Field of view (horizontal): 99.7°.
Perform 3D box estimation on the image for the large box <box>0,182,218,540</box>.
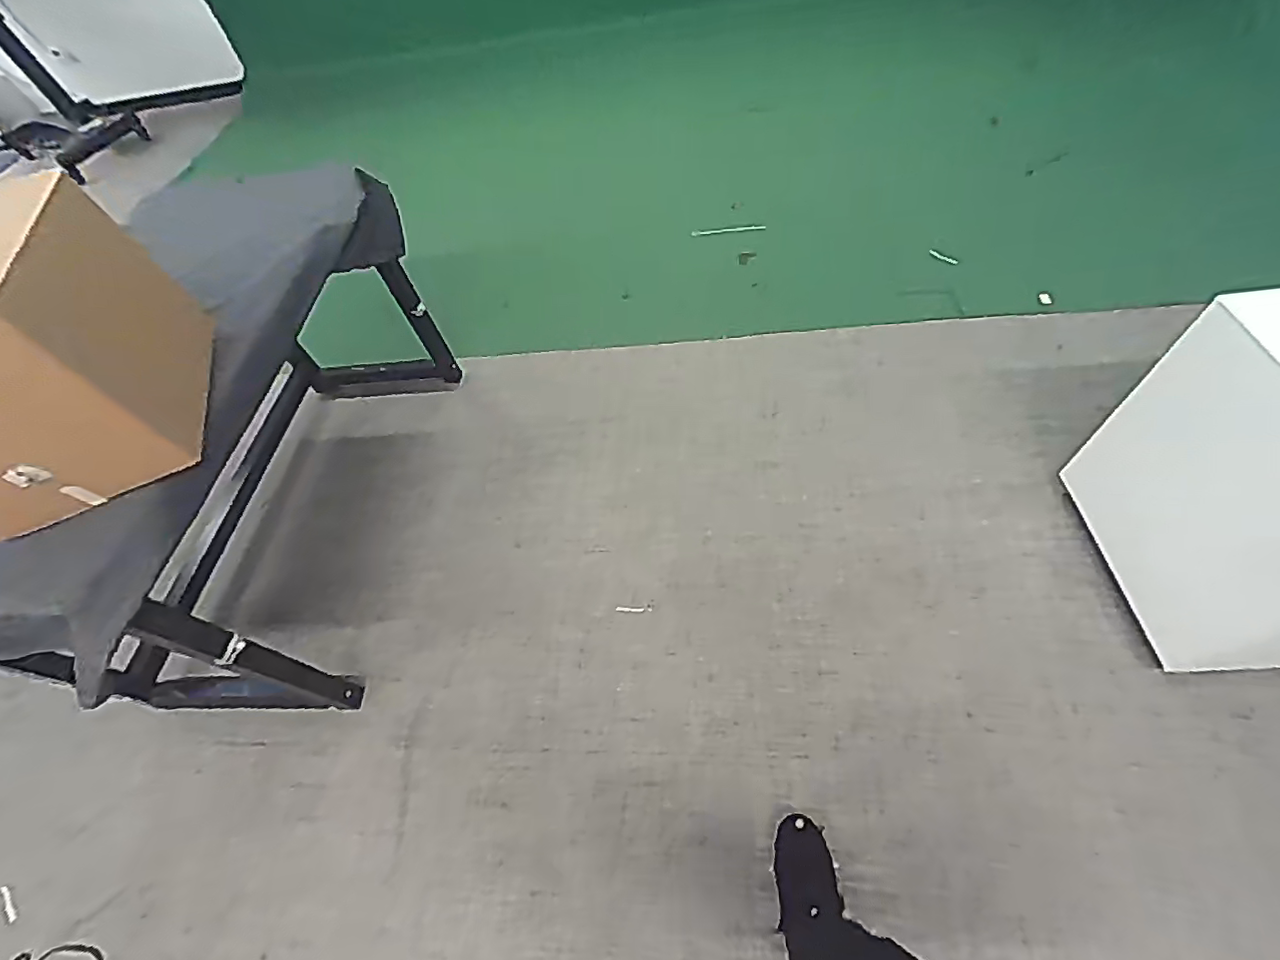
[{"bbox_3d":[-0.932,-0.187,0.845,0.320,0.320,0.408,-24,54,-7],"label":"large box"}]
